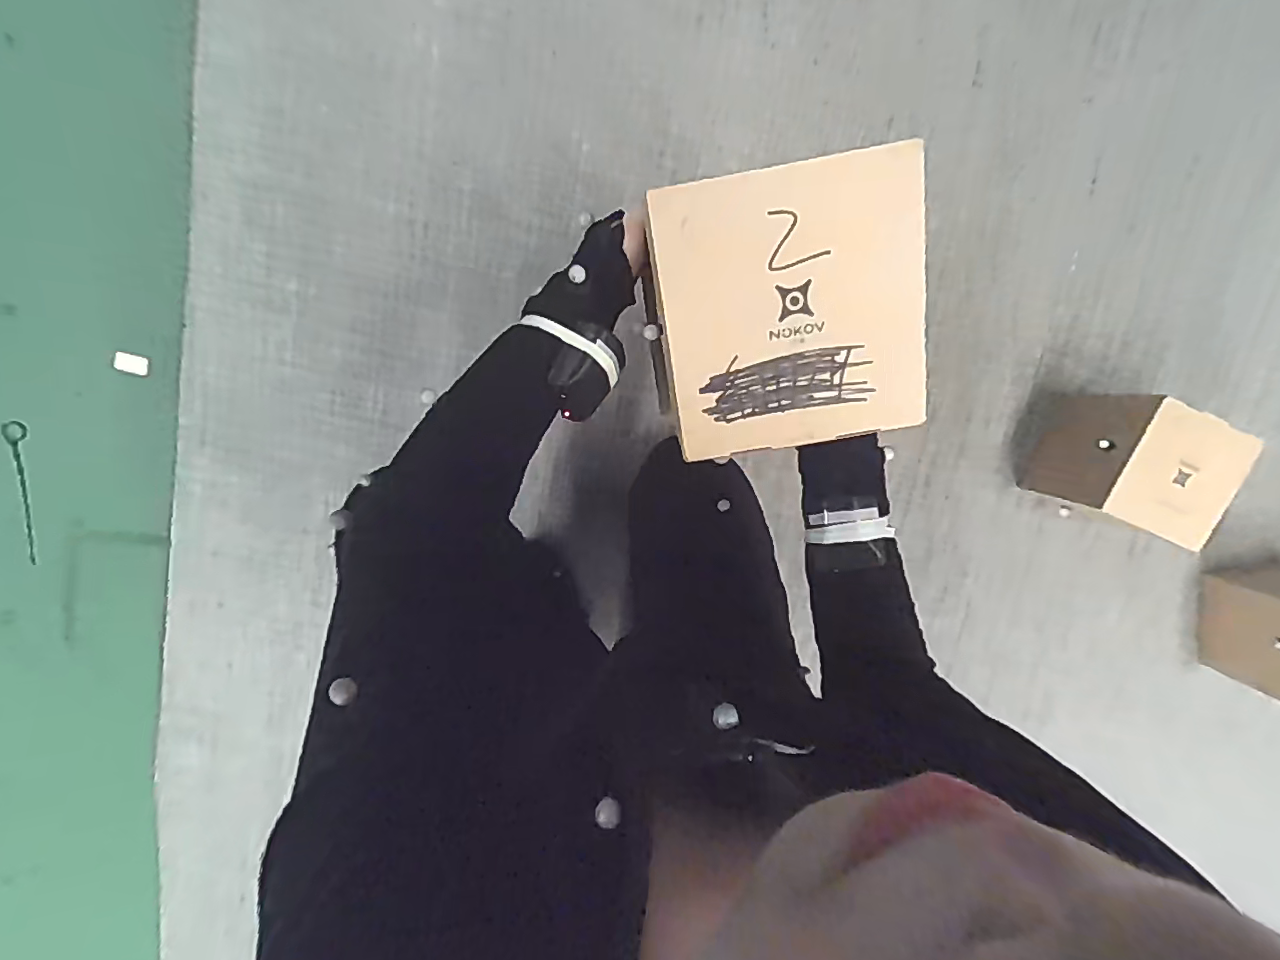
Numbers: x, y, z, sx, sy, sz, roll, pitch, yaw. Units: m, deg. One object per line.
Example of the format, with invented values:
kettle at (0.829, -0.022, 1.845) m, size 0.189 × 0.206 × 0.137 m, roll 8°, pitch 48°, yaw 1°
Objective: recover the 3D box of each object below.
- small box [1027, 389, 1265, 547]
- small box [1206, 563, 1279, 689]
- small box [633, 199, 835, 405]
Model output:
small box at (0.742, -0.027, 0.817) m, size 0.168 × 0.176 × 0.179 m, roll 23°, pitch 98°, yaw -5°
small box at (1.078, 0.240, 0.871) m, size 0.168 × 0.176 × 0.179 m, roll -9°, pitch 100°, yaw 0°
small box at (0.094, -0.184, 0.576) m, size 0.179 × 0.176 × 0.168 m, roll -8°, pitch 109°, yaw 4°
